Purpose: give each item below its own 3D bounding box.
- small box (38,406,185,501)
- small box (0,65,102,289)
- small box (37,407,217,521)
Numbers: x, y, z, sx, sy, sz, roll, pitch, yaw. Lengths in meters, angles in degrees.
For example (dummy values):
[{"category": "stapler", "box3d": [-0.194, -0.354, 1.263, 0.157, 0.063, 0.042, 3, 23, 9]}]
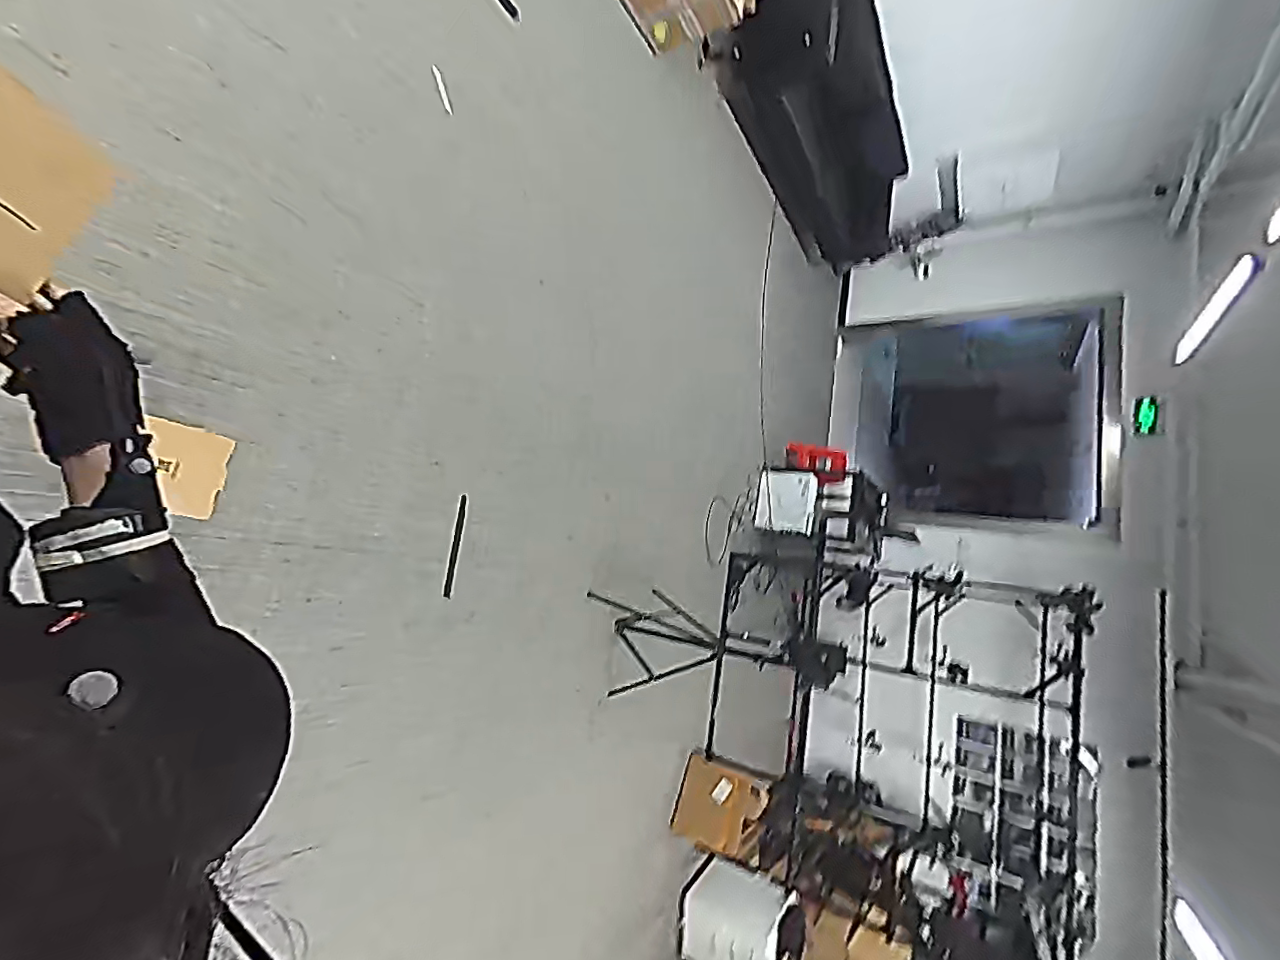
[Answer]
[{"category": "small box", "box3d": [-1.078, -0.042, 1.103, 0.168, 0.176, 0.179, 18, 77, -58]}, {"category": "small box", "box3d": [-0.544, -0.237, 0.351, 0.179, 0.176, 0.168, 65, 42, -69]}, {"category": "small box", "box3d": [-0.947, -0.030, 1.004, 0.179, 0.176, 0.168, 30, 67, -57]}]
